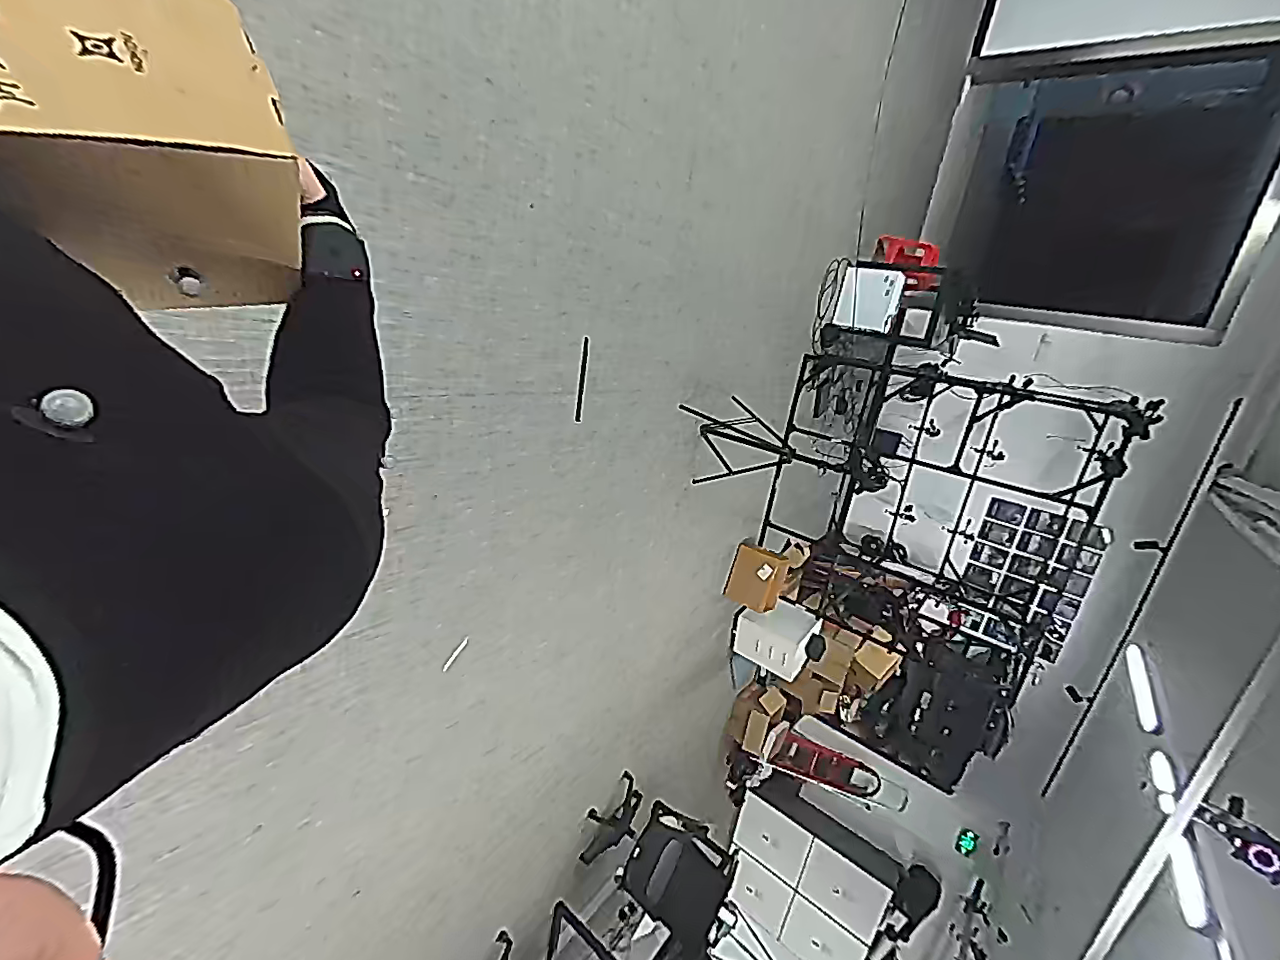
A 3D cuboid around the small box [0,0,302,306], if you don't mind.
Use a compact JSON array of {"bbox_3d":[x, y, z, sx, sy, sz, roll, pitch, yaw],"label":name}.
[{"bbox_3d":[-0.405,-0.265,0.449,0.179,0.168,0.176,-18,166,-37],"label":"small box"}]
